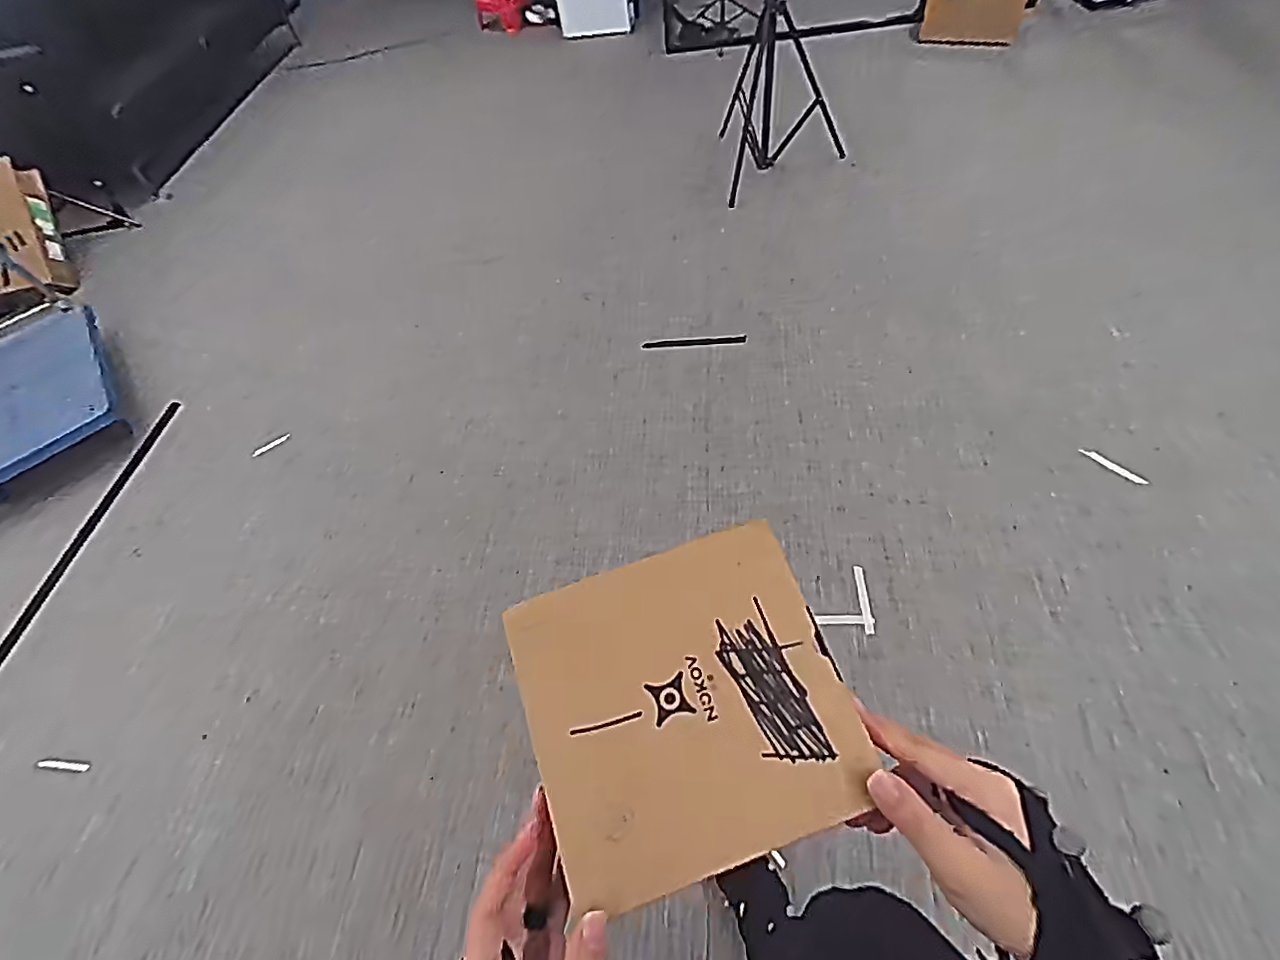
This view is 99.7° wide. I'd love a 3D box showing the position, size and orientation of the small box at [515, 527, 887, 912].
[{"bbox_3d":[0.030,0.155,0.385,0.179,0.176,0.168,-18,67,-5],"label":"small box"}]
